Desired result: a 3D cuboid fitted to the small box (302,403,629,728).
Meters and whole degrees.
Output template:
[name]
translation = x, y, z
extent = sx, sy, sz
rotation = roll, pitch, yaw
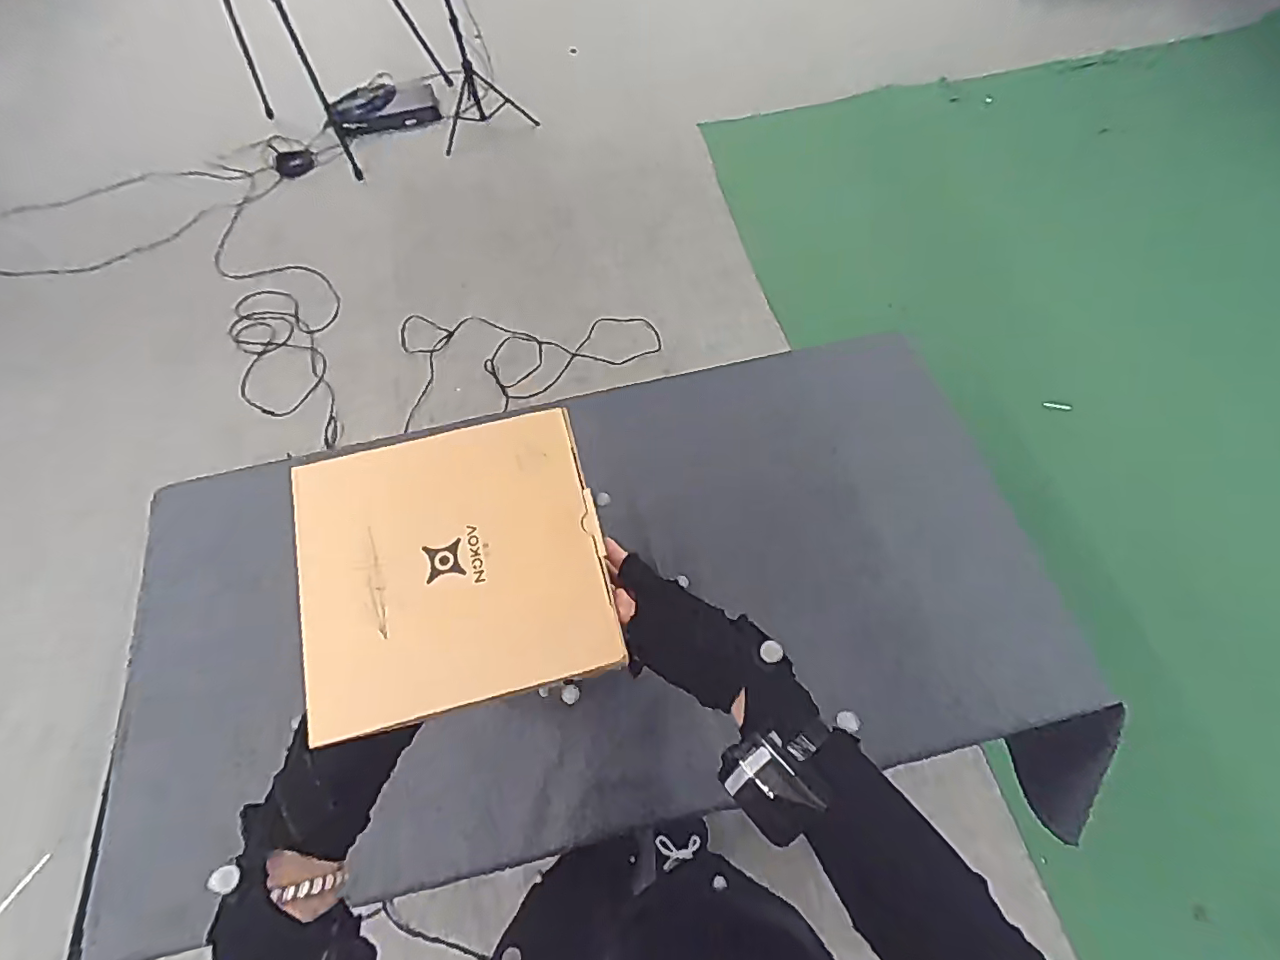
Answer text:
[small box]
translation = -0.111, 0.068, 0.397
extent = 0.179, 0.176, 0.168
rotation = -13, 71, -6
